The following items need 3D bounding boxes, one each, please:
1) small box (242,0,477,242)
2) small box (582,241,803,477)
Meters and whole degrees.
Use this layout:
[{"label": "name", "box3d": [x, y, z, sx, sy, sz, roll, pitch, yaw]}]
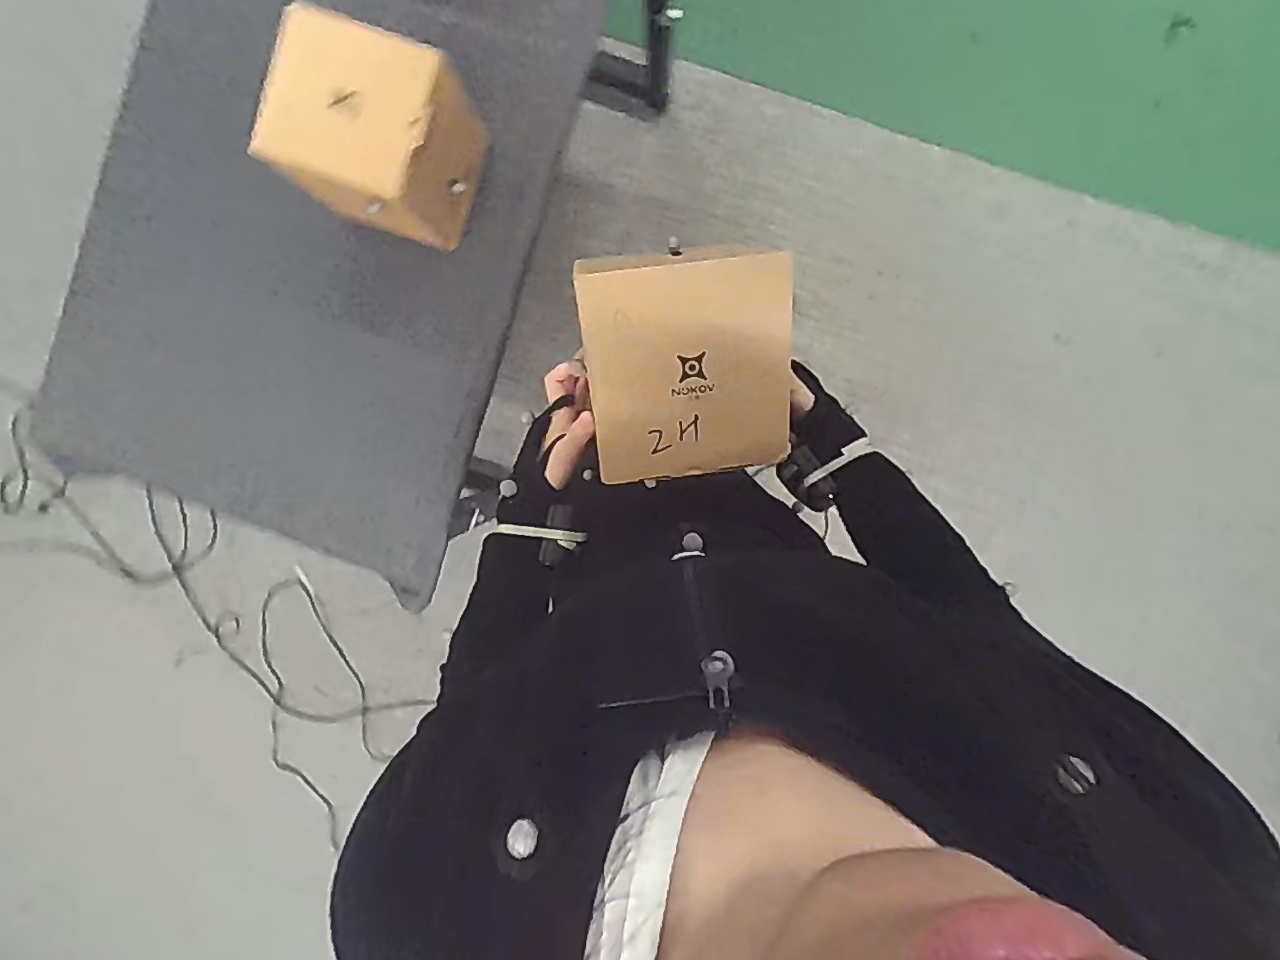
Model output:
[{"label": "small box", "box3d": [-0.328, -0.420, 0.666, 0.179, 0.176, 0.168, 18, 94, 0]}, {"label": "small box", "box3d": [0.037, -0.121, 0.500, 0.168, 0.176, 0.179, -6, 116, -3]}]
